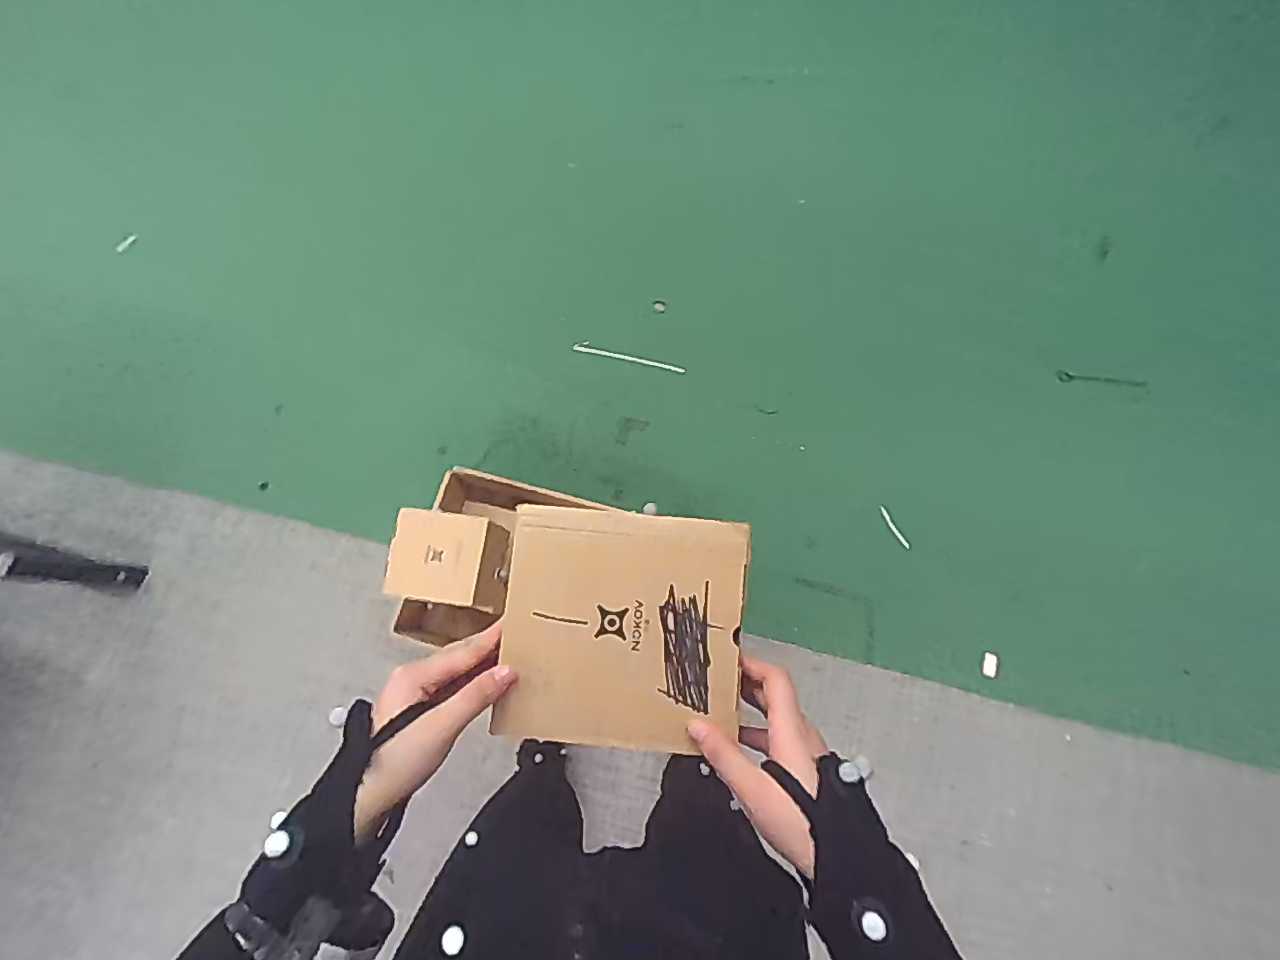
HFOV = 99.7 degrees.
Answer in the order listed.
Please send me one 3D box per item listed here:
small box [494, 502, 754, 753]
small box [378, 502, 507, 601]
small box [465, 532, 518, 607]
[{"bbox_3d":[-0.010,0.116,0.467,0.179,0.176,0.168,5,80,1],"label":"small box"},{"bbox_3d":[-0.382,0.148,1.075,0.179,0.176,0.168,7,78,1],"label":"small box"},{"bbox_3d":[-0.372,0.188,1.233,0.179,0.176,0.168,16,78,6],"label":"small box"}]
